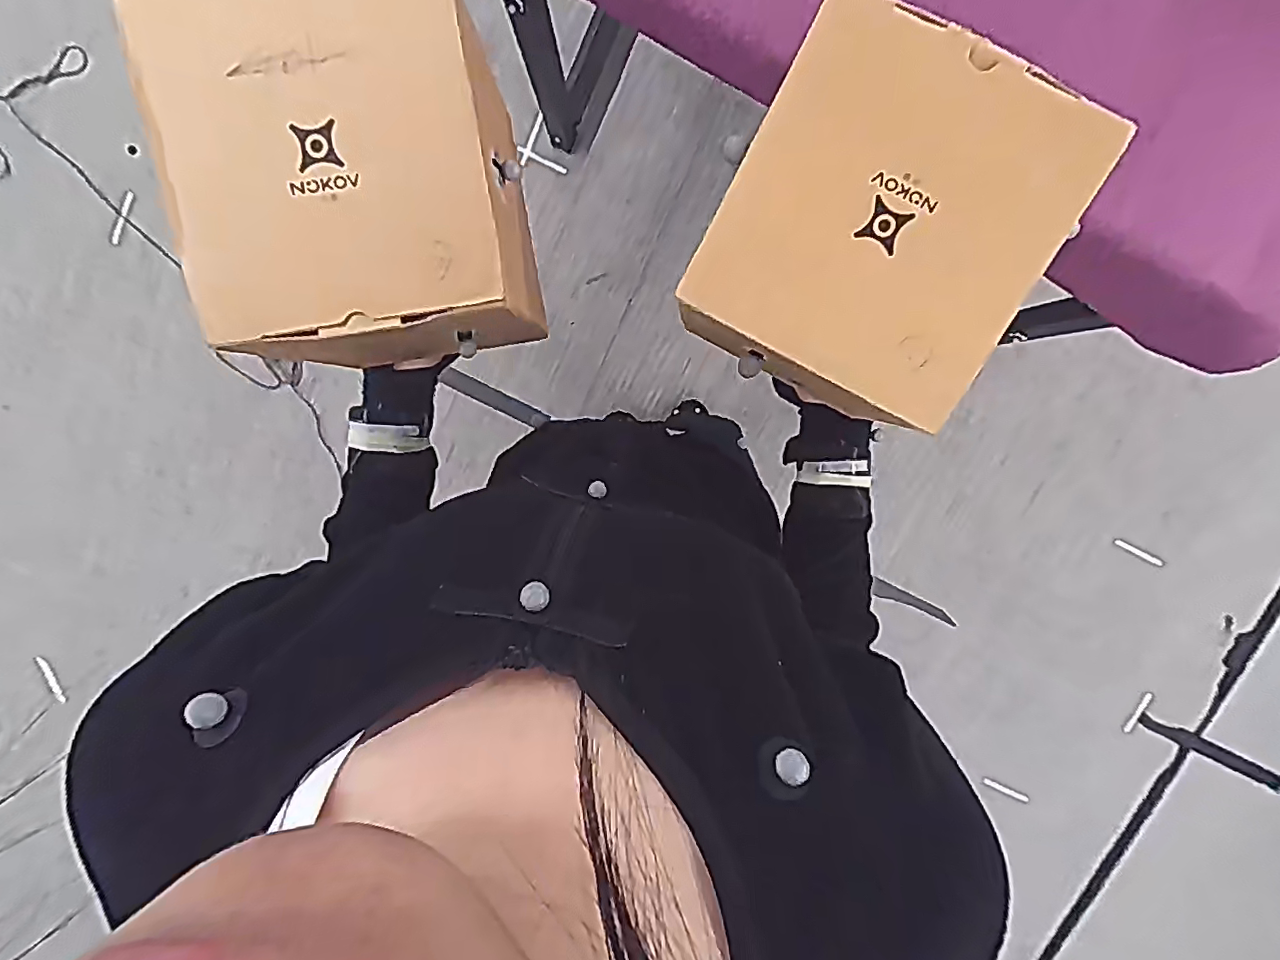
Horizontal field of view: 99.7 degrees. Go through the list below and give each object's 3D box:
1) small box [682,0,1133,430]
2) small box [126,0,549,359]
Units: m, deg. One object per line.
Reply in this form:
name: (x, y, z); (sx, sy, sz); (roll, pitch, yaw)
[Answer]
small box: (0.143, -0.151, 0.362); (0.168, 0.176, 0.179); (28, 100, 1)
small box: (-0.161, -0.179, 0.357); (0.168, 0.176, 0.179); (-10, 98, -2)
